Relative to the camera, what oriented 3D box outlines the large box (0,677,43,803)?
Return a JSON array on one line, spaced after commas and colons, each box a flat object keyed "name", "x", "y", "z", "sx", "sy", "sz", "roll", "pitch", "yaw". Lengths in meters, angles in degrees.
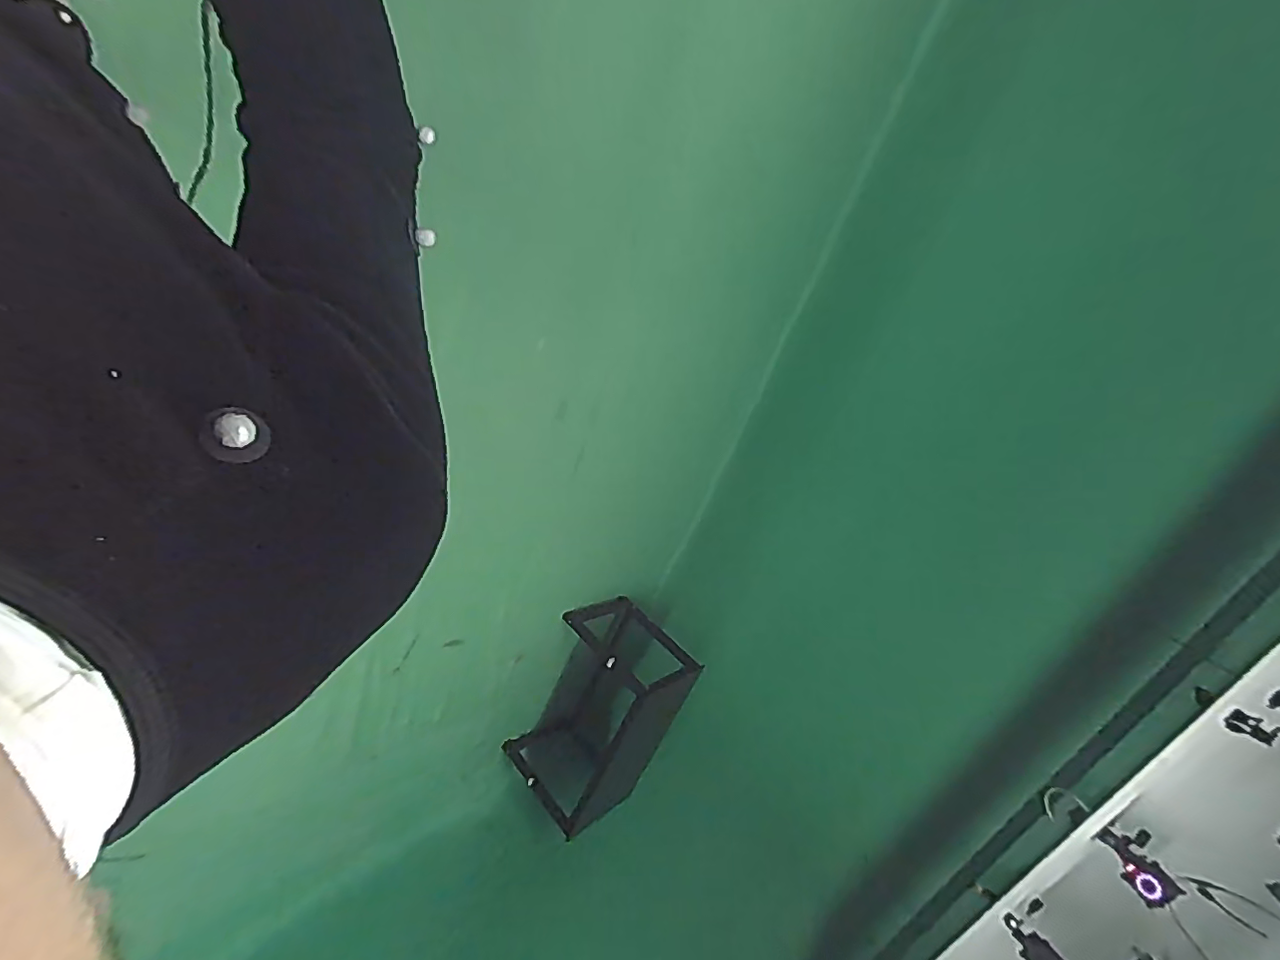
[{"name": "large box", "x": -1.737, "y": 0.663, "z": 1.225, "sx": 0.408, "sy": 0.320, "sz": 0.320, "roll": -37, "pitch": 146, "yaw": -26}]
